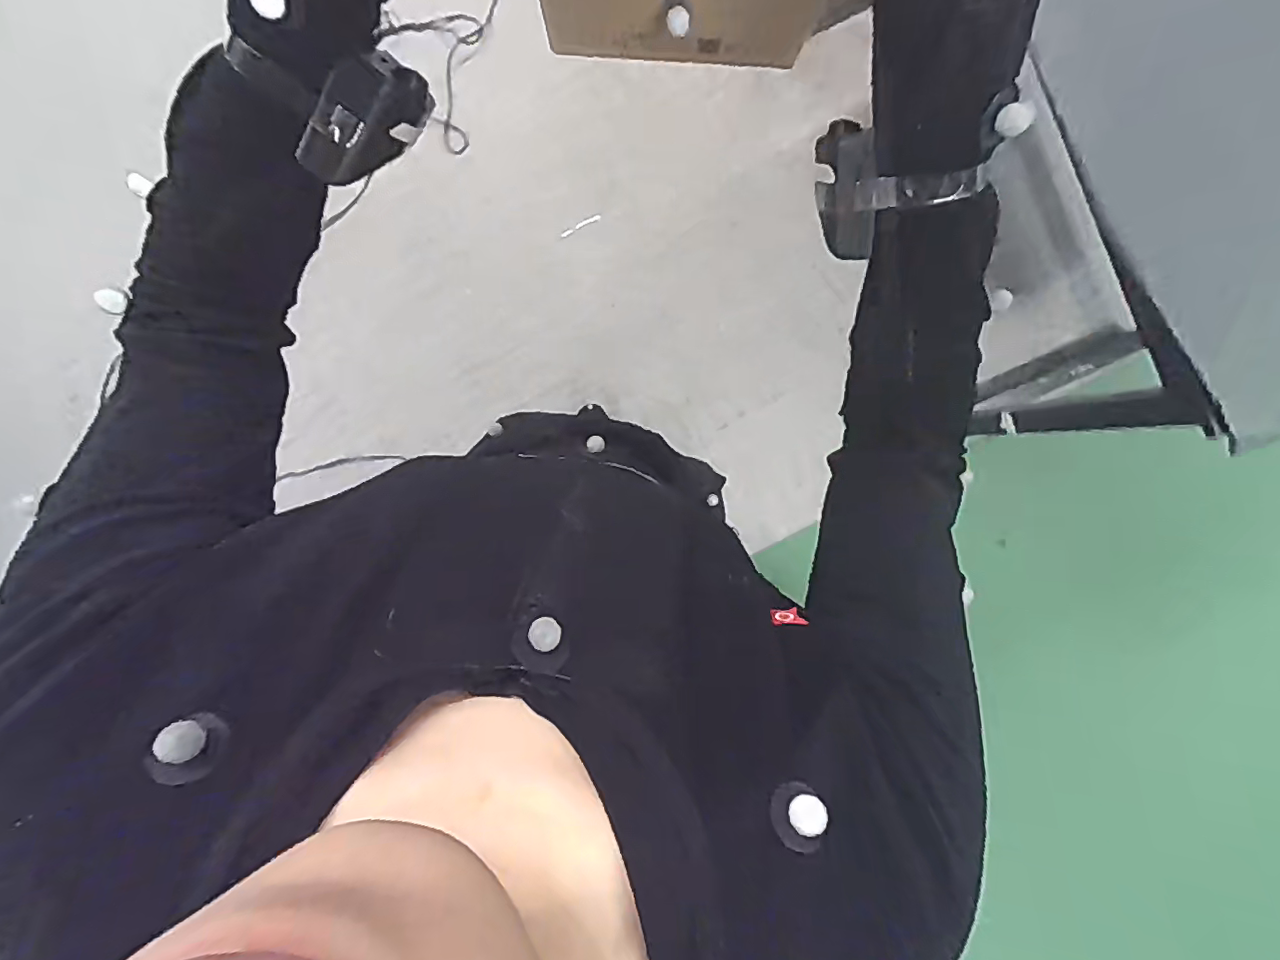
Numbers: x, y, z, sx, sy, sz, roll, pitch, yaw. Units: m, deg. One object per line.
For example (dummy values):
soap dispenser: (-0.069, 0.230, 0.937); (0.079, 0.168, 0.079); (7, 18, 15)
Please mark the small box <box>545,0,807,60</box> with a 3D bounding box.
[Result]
small box: (0.023, -0.364, 0.273); (0.168, 0.176, 0.179); (2, 97, -1)
